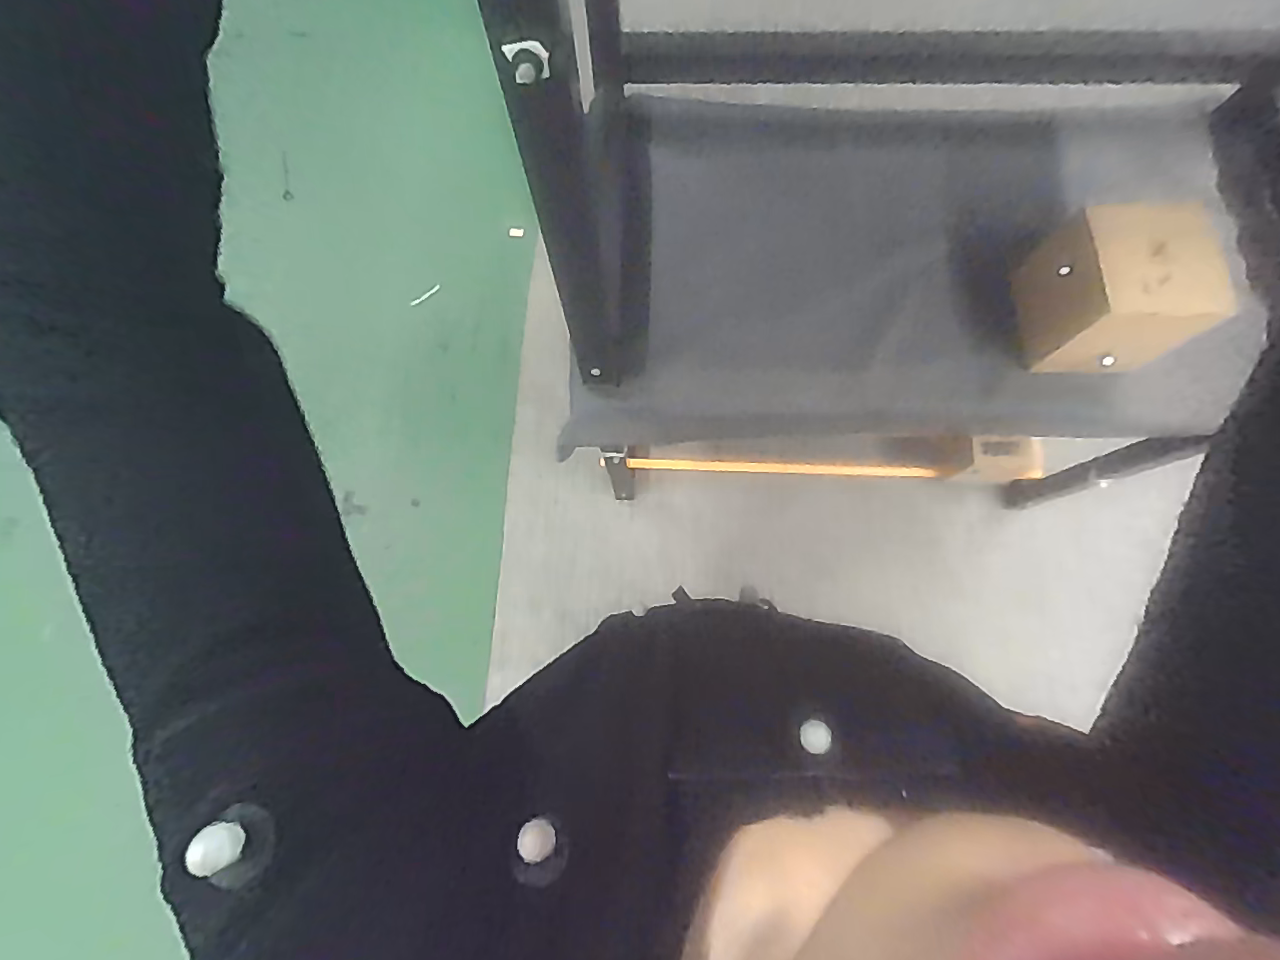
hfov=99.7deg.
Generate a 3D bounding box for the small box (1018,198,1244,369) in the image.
[{"bbox_3d":[0.701,-0.284,0.799,0.168,0.176,0.179,1,73,2],"label":"small box"}]
